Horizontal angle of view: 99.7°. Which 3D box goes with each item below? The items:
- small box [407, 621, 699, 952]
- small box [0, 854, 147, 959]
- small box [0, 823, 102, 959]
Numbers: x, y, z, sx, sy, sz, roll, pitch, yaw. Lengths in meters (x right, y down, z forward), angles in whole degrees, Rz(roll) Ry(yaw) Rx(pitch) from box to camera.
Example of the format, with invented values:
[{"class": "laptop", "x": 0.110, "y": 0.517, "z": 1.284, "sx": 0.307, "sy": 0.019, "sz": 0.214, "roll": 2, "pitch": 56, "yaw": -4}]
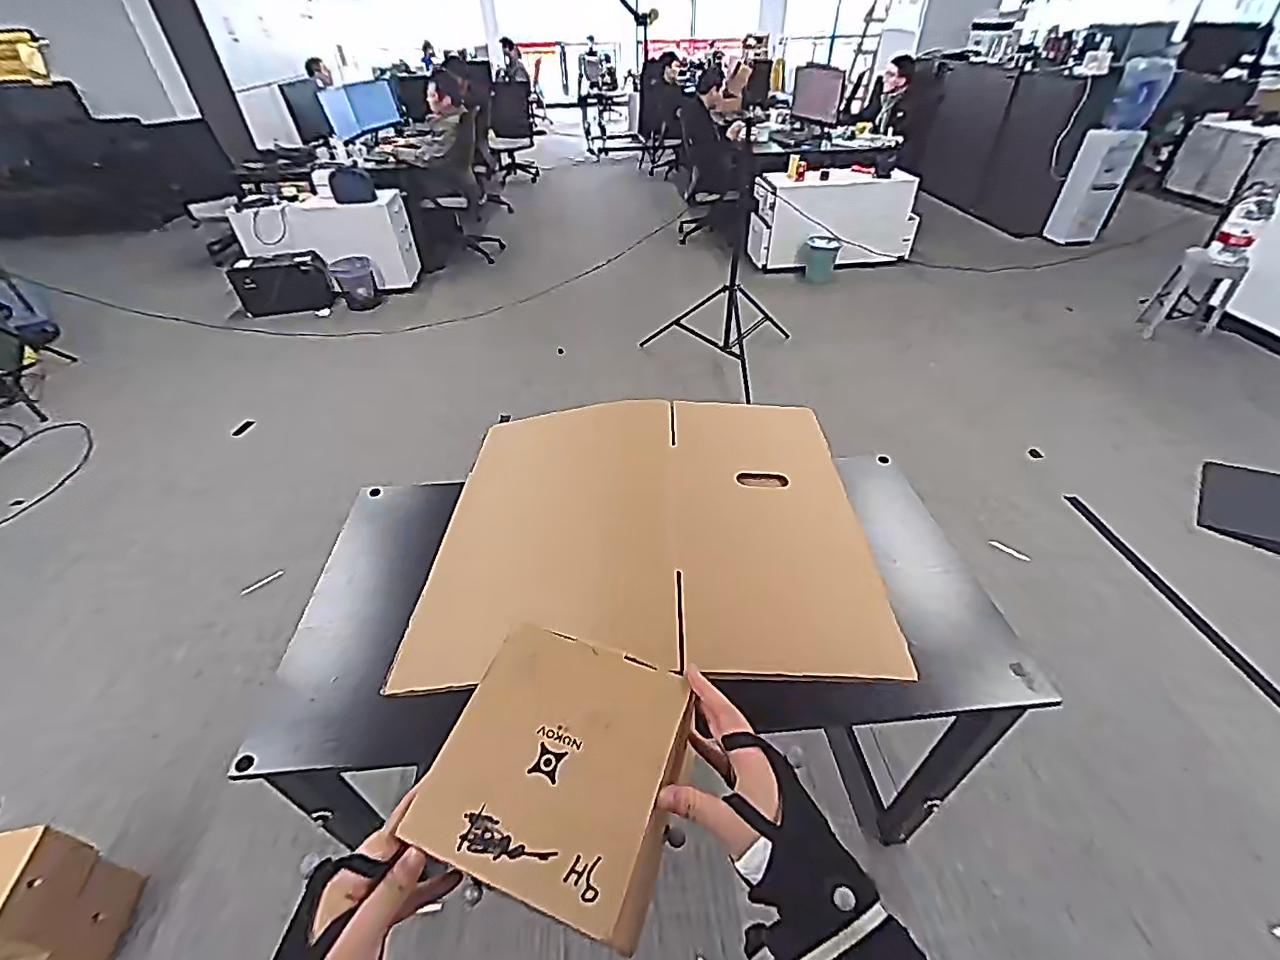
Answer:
[{"class": "small box", "x": -0.054, "y": 0.258, "z": 0.463, "sx": 0.168, "sy": 0.176, "sz": 0.179, "roll": 13, "pitch": 48, "yaw": 18}, {"class": "small box", "x": -1.220, "y": 0.938, "z": 1.156, "sx": 0.168, "sy": 0.176, "sz": 0.179, "roll": -7, "pitch": 42, "yaw": -5}, {"class": "small box", "x": -1.226, "y": 0.811, "z": 1.055, "sx": 0.168, "sy": 0.176, "sz": 0.179, "roll": -8, "pitch": 40, "yaw": -9}]
